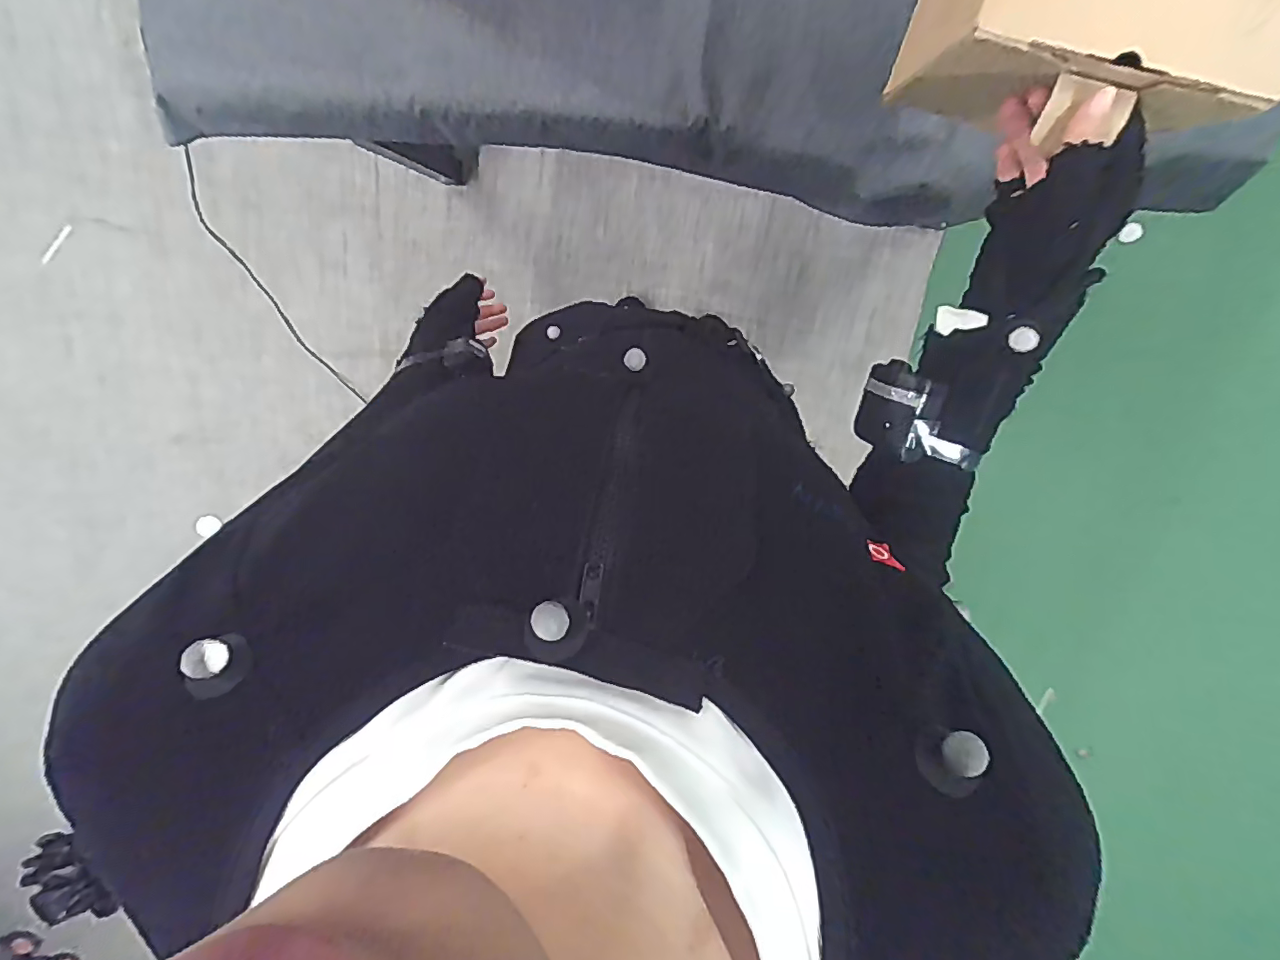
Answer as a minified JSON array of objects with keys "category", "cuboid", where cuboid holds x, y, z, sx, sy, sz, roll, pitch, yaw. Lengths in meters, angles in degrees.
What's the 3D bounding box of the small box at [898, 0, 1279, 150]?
[{"category":"small box","cuboid":[0.281,-0.318,0.322,0.168,0.176,0.179,15,116,0]}]
